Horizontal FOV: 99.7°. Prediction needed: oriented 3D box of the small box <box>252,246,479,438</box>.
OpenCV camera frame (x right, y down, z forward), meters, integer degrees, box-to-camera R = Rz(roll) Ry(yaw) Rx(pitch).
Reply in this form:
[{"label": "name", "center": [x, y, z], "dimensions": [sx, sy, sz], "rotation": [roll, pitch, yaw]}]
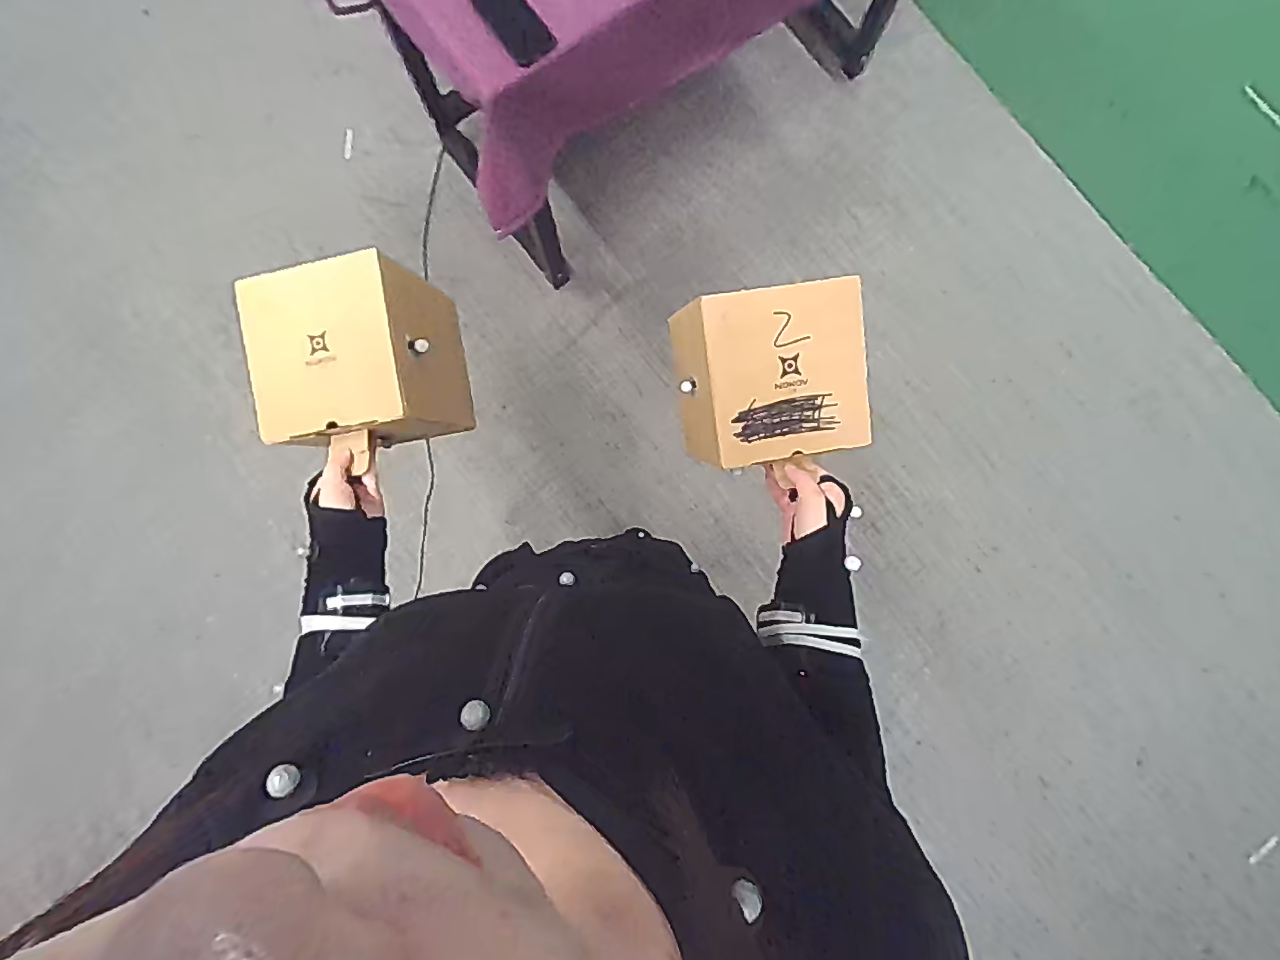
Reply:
[{"label": "small box", "center": [-0.311, -0.148, 0.644], "dimensions": [0.168, 0.176, 0.179], "rotation": [-8, 92, 8]}]
